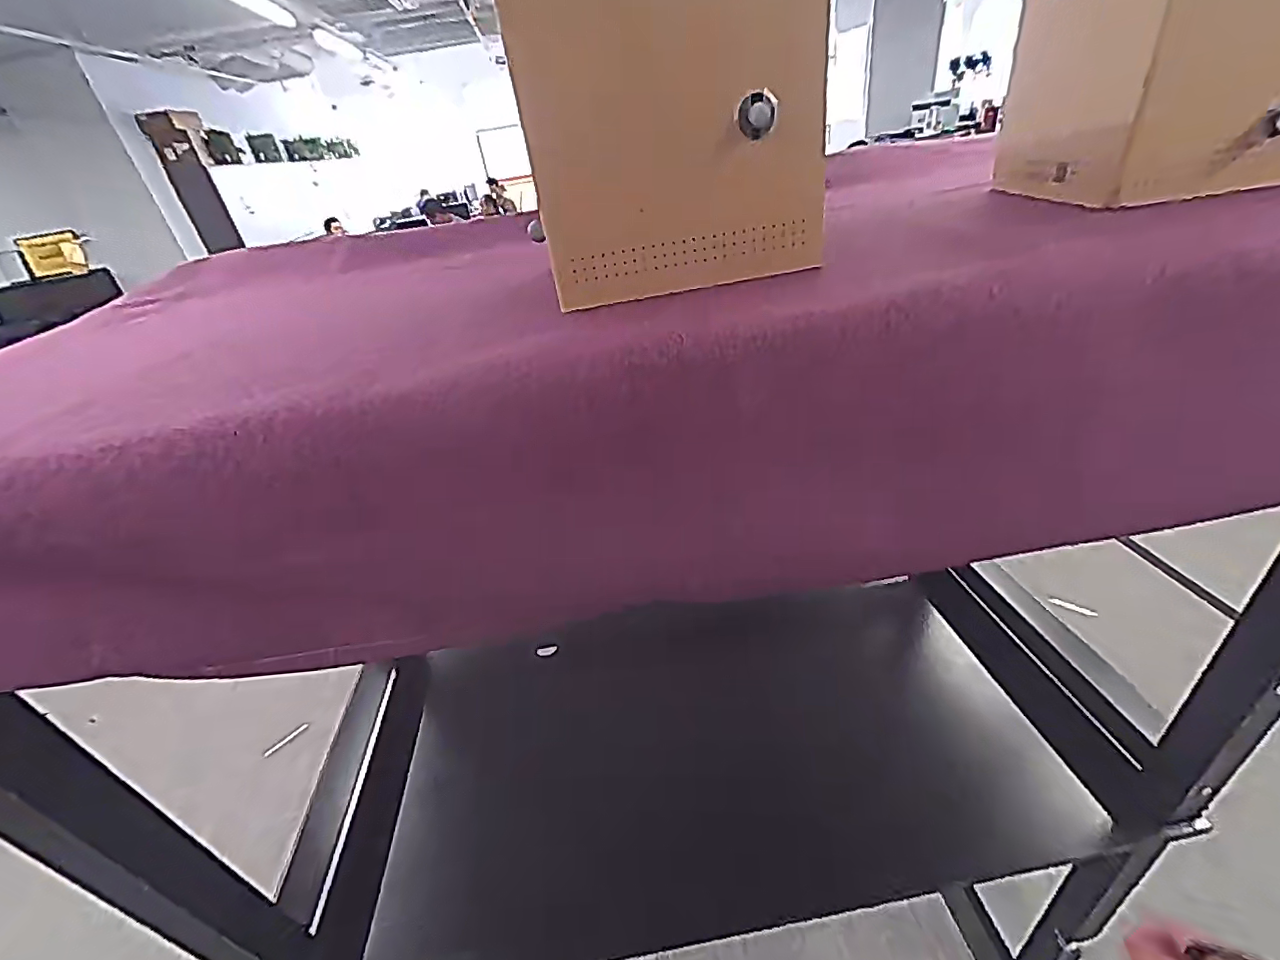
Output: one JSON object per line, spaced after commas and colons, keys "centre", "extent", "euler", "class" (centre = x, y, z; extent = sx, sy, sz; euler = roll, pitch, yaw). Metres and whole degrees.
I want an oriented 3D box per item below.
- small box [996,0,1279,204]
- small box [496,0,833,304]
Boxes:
{"centre": [0.392, -0.305, 0.378], "extent": [0.179, 0.176, 0.168], "euler": [-6, 32, 6], "class": "small box"}
{"centre": [0.015, -0.235, 0.374], "extent": [0.179, 0.176, 0.168], "euler": [-11, 31, -1], "class": "small box"}
